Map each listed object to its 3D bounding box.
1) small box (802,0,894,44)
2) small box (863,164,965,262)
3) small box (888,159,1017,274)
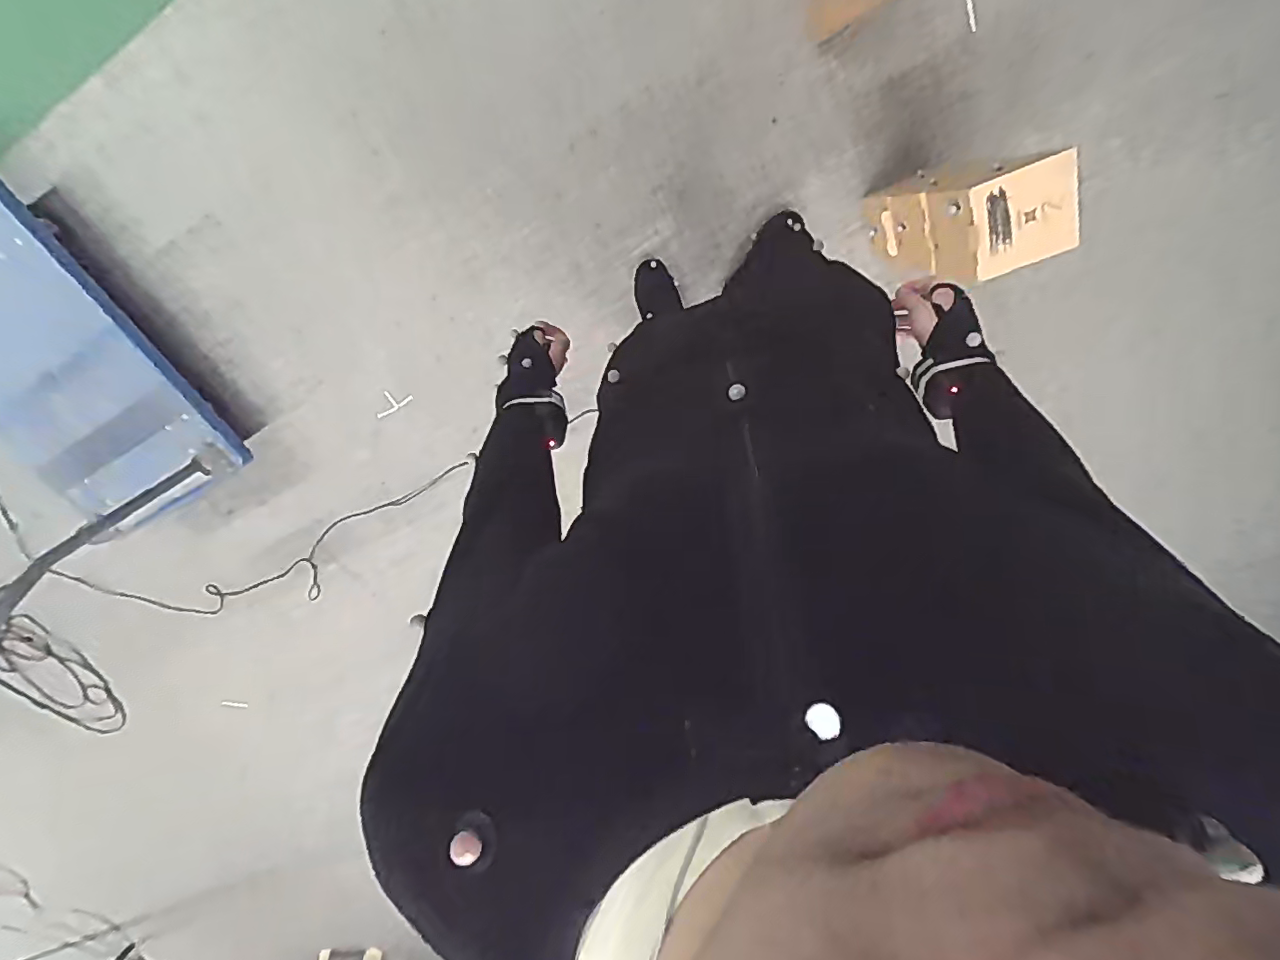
[{"bbox_3d":[0.431,-1.054,1.114,0.168,0.176,0.179,-20,114,11],"label":"small box"},{"bbox_3d":[0.663,-0.640,1.305,0.179,0.176,0.168,-14,112,9],"label":"small box"},{"bbox_3d":[0.666,-0.566,1.163,0.179,0.176,0.168,-20,114,11],"label":"small box"}]
